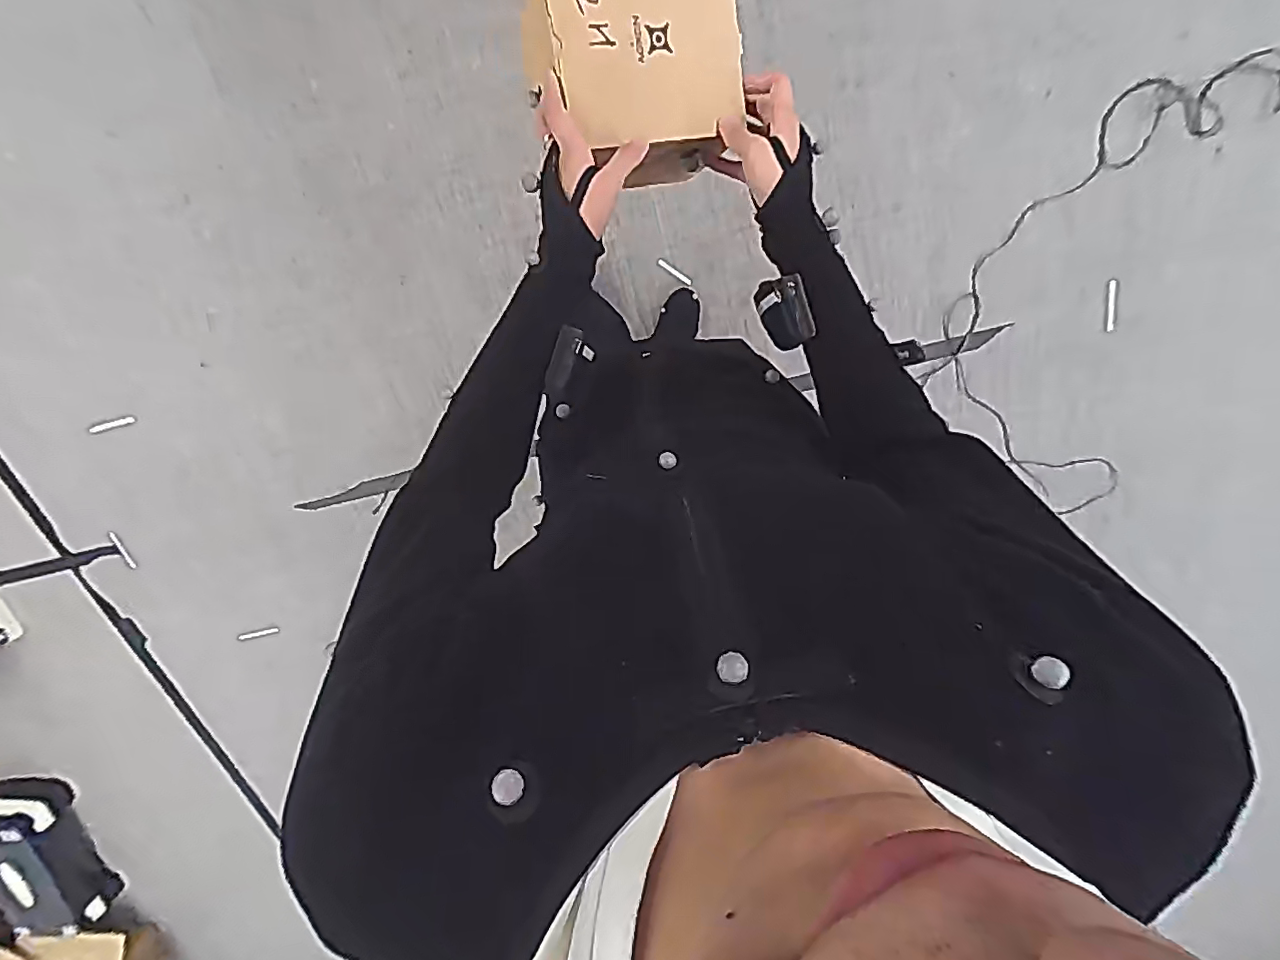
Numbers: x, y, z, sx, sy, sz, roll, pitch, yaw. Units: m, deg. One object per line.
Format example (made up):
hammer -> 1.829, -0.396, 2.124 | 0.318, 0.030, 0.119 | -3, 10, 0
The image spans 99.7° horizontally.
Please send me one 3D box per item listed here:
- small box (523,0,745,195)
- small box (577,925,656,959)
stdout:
small box -> -0.014, -0.407, 0.553 | 0.179, 0.176, 0.168 | -13, 107, -11
small box -> -0.052, 1.212, 1.296 | 0.179, 0.176, 0.168 | -13, 111, 4
